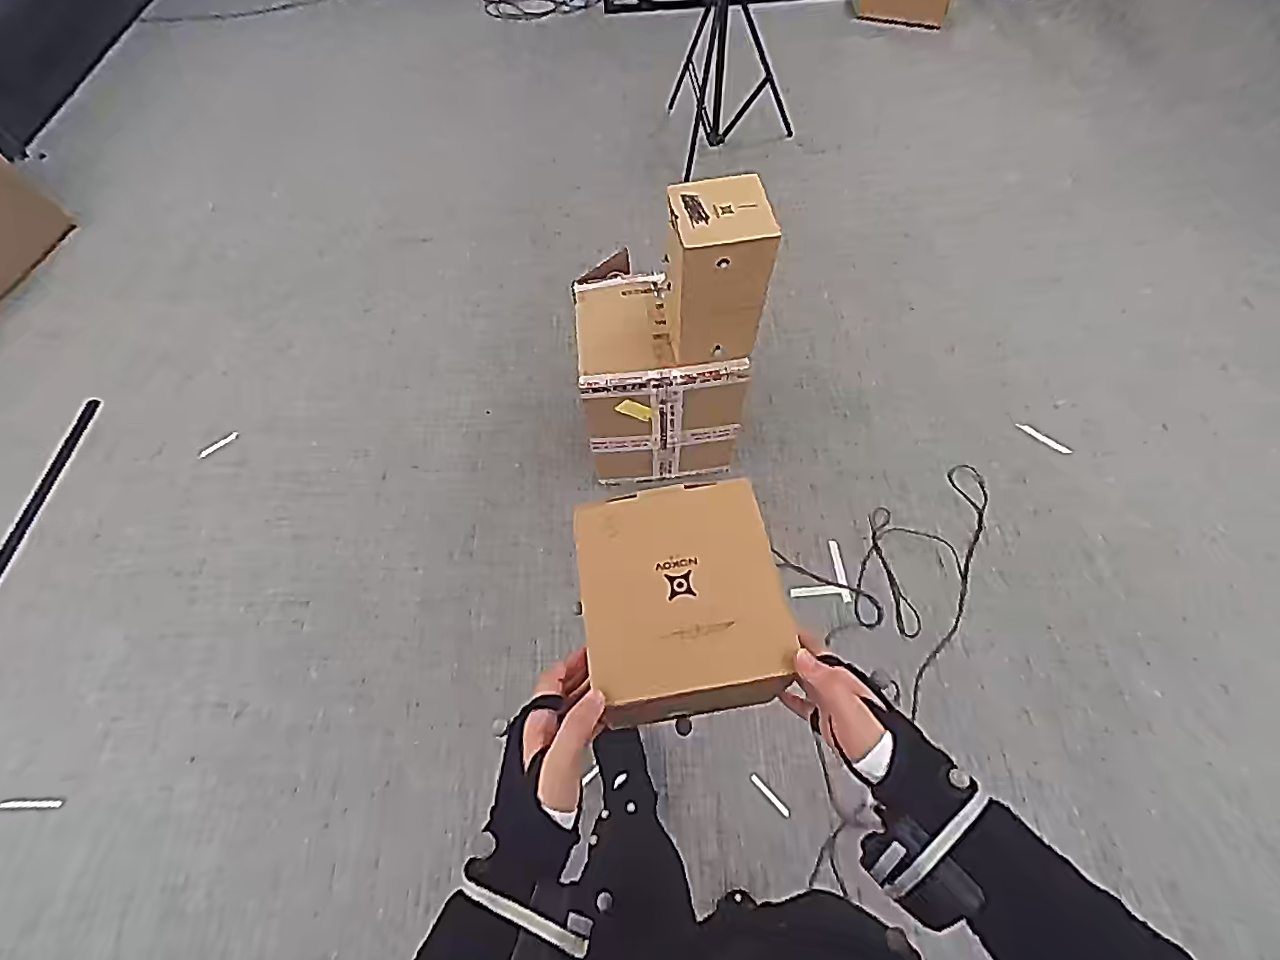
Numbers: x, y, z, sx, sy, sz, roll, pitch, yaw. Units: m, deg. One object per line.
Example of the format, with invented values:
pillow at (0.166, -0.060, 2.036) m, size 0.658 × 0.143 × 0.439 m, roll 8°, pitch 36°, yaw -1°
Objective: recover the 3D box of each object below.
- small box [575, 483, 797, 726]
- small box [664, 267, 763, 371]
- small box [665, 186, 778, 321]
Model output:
small box at (0.033, 0.127, 0.528) m, size 0.168 × 0.176 × 0.179 m, roll -9°, pitch 61°, yaw -2°
small box at (0.154, -0.363, 1.196) m, size 0.179 × 0.176 × 0.168 m, roll -9°, pitch 65°, yaw -3°
small box at (0.147, -0.429, 1.044) m, size 0.179 × 0.176 × 0.168 m, roll -9°, pitch 65°, yaw -3°
